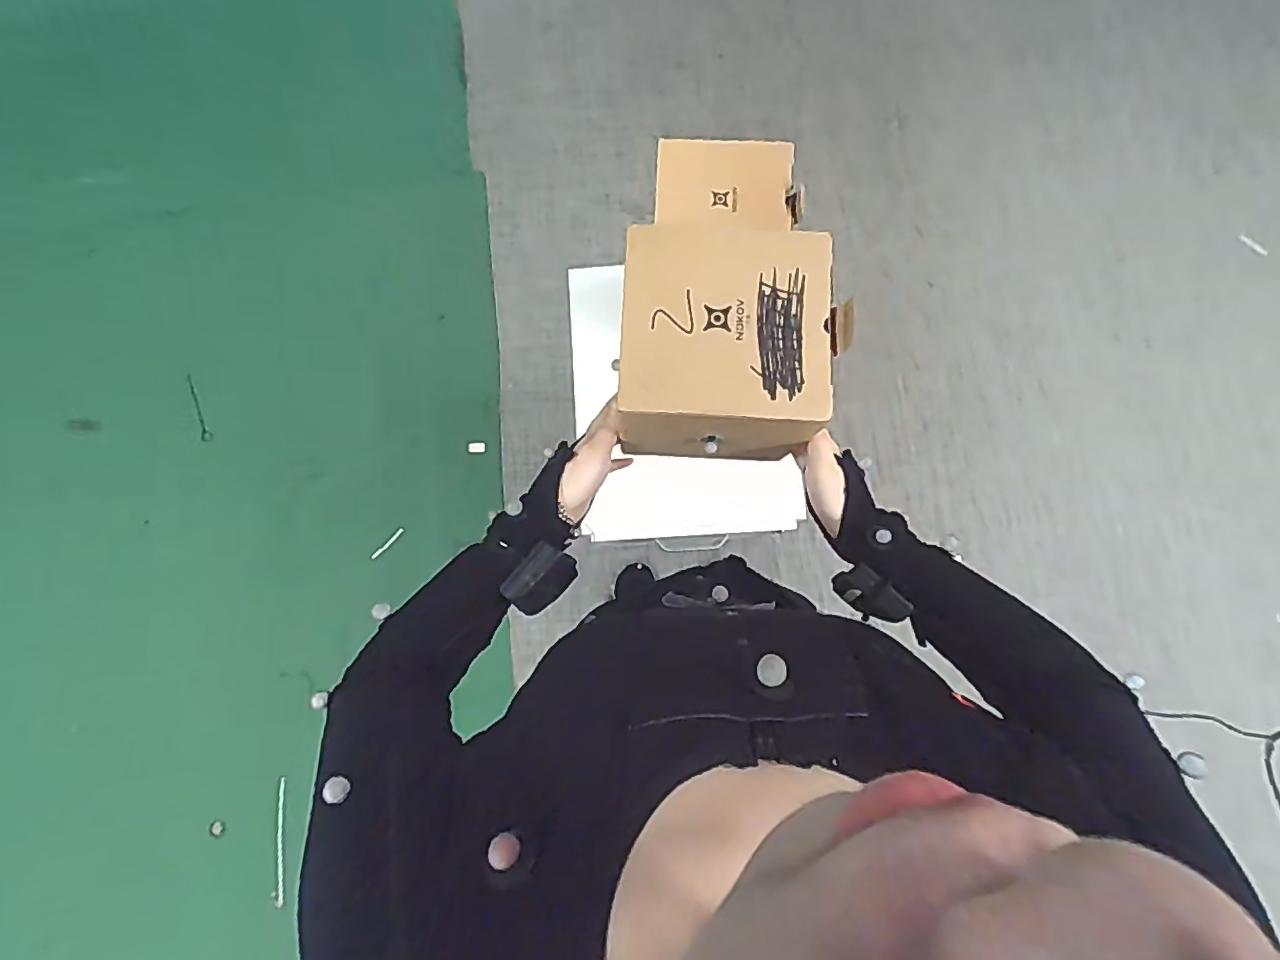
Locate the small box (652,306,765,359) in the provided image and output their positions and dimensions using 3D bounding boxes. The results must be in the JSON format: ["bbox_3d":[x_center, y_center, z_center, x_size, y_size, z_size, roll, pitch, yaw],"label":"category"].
[{"bbox_3d":[0.114,-0.314,0.921,0.179,0.176,0.168,3,81,3],"label":"small box"}]

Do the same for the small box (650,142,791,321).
[{"bbox_3d":[0.105,-0.338,0.760,0.179,0.176,0.168,3,81,1],"label":"small box"}]
